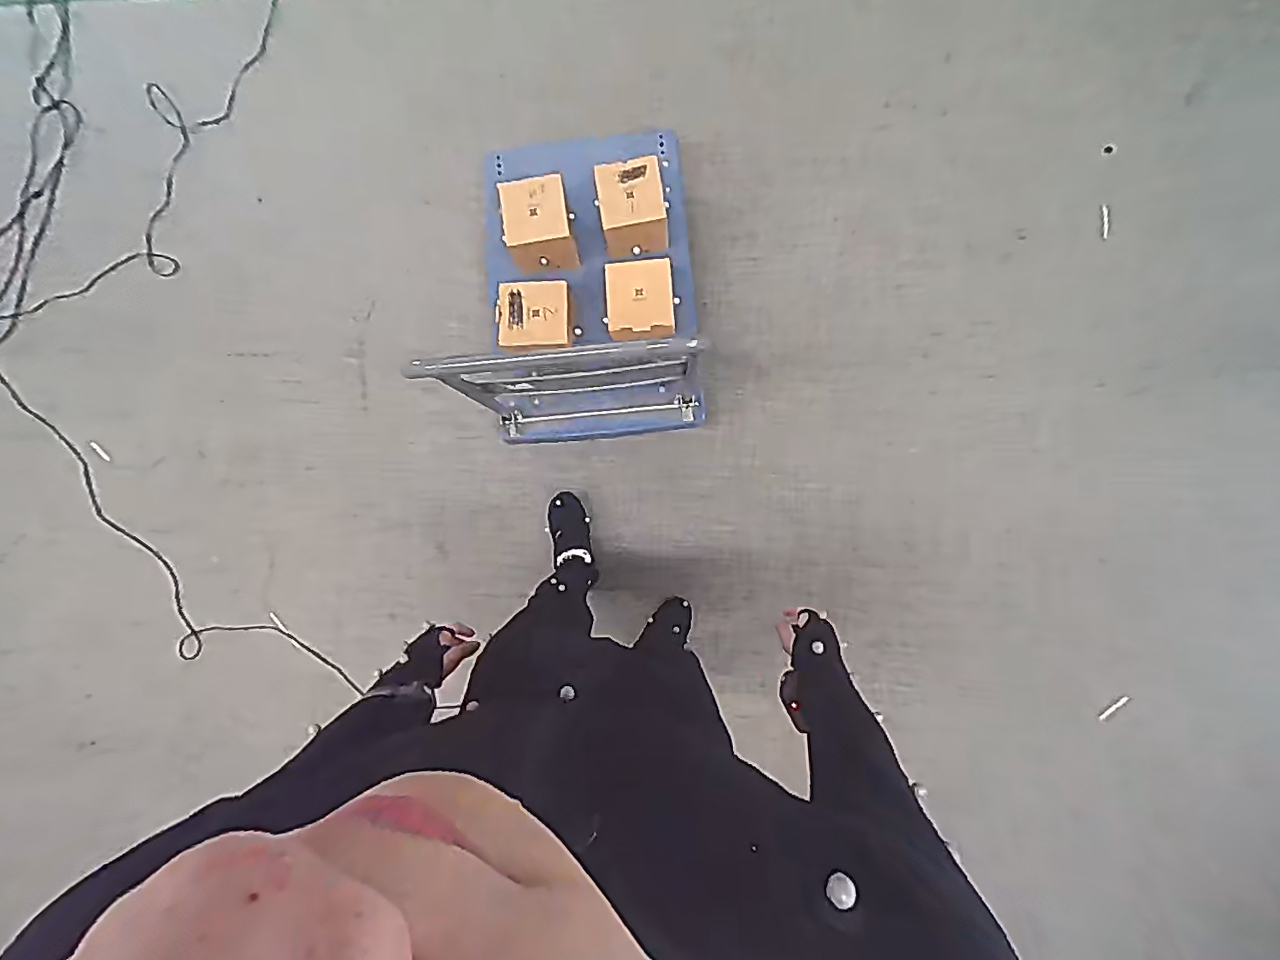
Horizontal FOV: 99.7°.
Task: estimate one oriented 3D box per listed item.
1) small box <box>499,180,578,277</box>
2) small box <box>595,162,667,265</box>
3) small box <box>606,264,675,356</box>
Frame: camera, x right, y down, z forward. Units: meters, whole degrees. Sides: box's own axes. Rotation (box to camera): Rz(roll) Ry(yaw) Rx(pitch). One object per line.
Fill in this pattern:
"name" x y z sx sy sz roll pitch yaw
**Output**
"small box" -0.269 -0.671 1.467 0.168 0.176 0.179 -8 84 2
"small box" -0.020 -0.711 1.454 0.168 0.176 0.179 -9 85 4
"small box" 0.003 -0.442 1.427 0.168 0.176 0.179 -4 84 3
